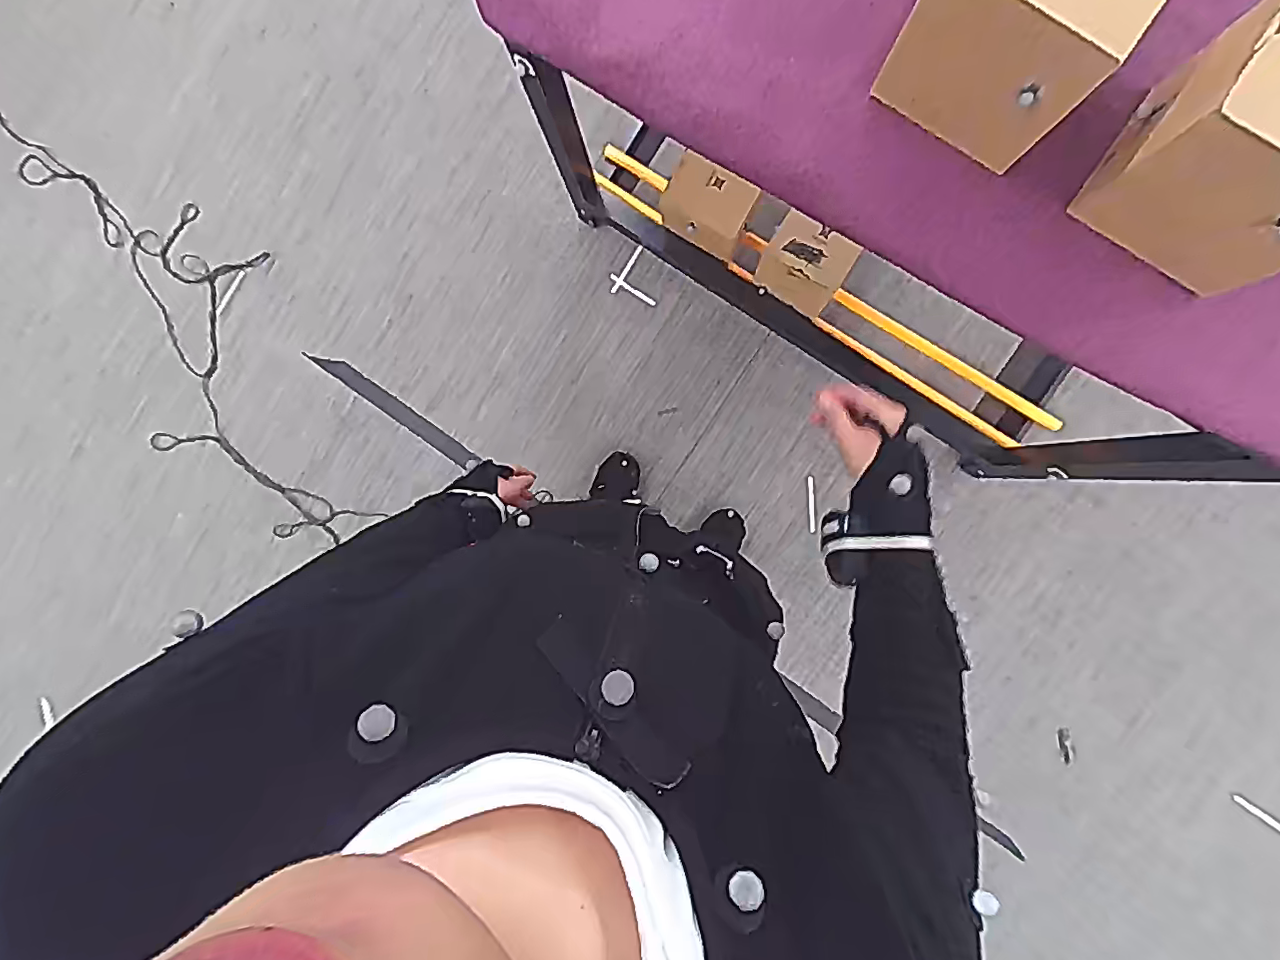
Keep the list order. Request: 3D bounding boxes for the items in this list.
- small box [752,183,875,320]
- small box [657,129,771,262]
[{"bbox_3d":[0.354,-0.471,1.145,0.168,0.176,0.179,33,86,3],"label":"small box"},{"bbox_3d":[0.154,-0.595,1.161,0.179,0.176,0.168,30,94,3],"label":"small box"}]
